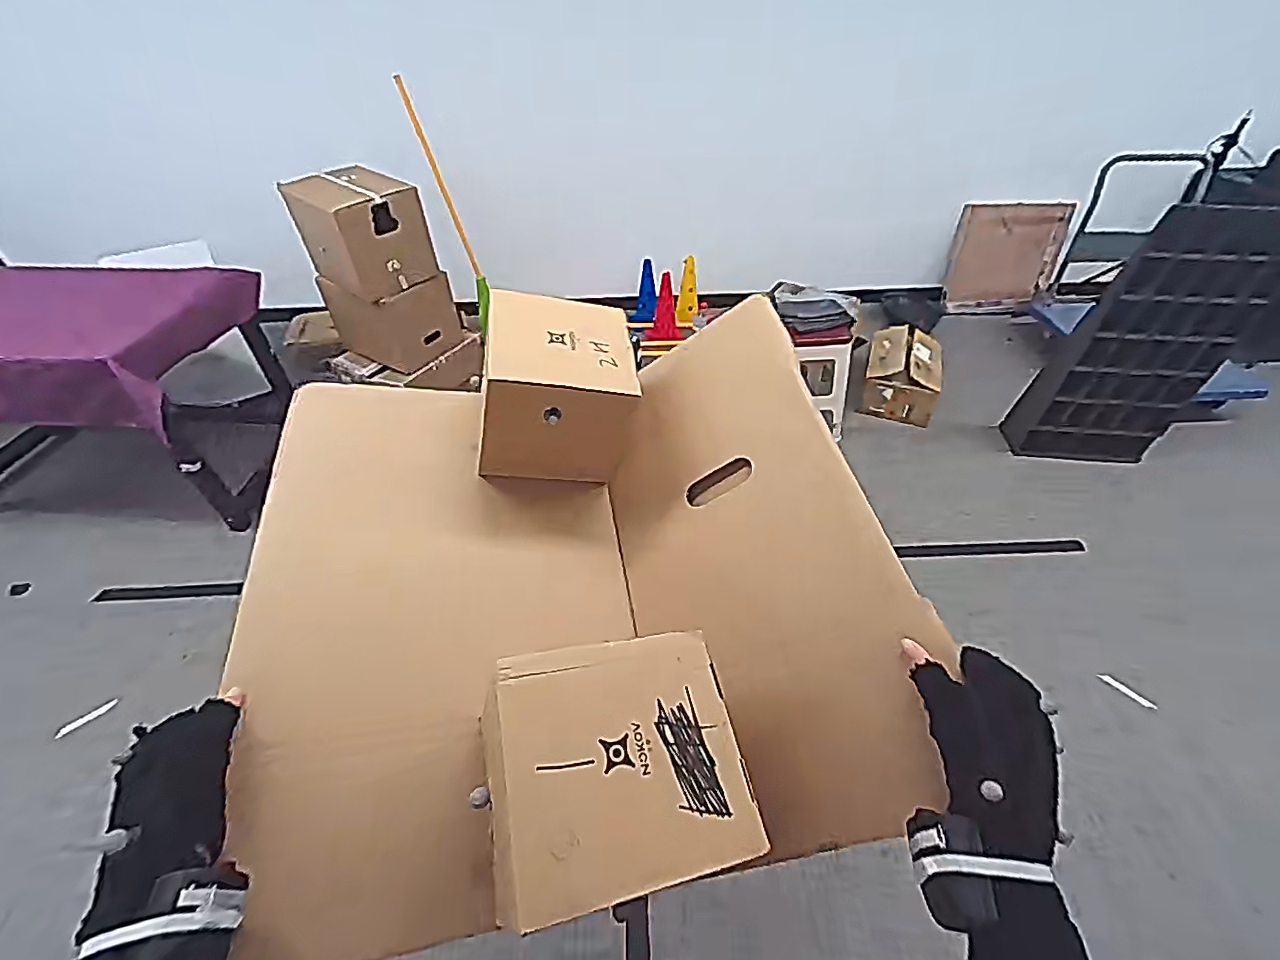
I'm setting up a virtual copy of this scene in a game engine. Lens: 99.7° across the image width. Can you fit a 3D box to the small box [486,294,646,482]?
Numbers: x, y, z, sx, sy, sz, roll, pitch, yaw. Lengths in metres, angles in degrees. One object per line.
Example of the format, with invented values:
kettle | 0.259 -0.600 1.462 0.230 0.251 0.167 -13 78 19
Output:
small box | -0.105 -0.113 0.711 0.179 0.176 0.168 5 52 -17
